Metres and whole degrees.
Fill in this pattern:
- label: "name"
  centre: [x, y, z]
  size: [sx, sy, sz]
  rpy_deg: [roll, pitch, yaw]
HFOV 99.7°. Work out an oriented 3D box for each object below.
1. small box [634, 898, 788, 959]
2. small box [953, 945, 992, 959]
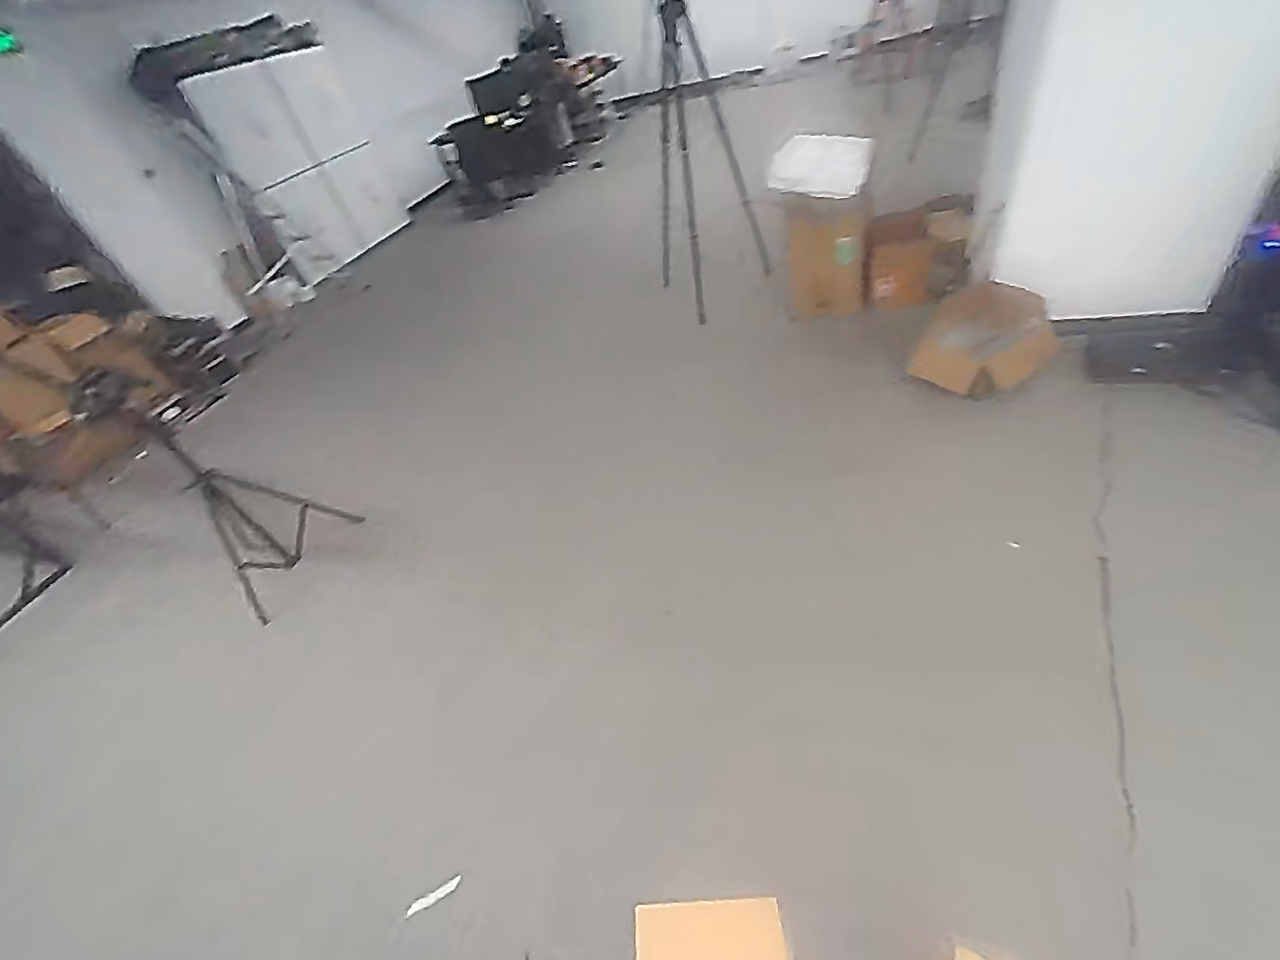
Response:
- label: "small box"
  centre: [0.078, 0.601, 0.605]
  size: [0.168, 0.176, 0.179]
  rpy_deg: [-2, 40, -3]
- label: "small box"
  centre: [0.530, 0.830, 0.779]
  size: [0.168, 0.176, 0.179]
  rpy_deg: [11, 48, 29]
